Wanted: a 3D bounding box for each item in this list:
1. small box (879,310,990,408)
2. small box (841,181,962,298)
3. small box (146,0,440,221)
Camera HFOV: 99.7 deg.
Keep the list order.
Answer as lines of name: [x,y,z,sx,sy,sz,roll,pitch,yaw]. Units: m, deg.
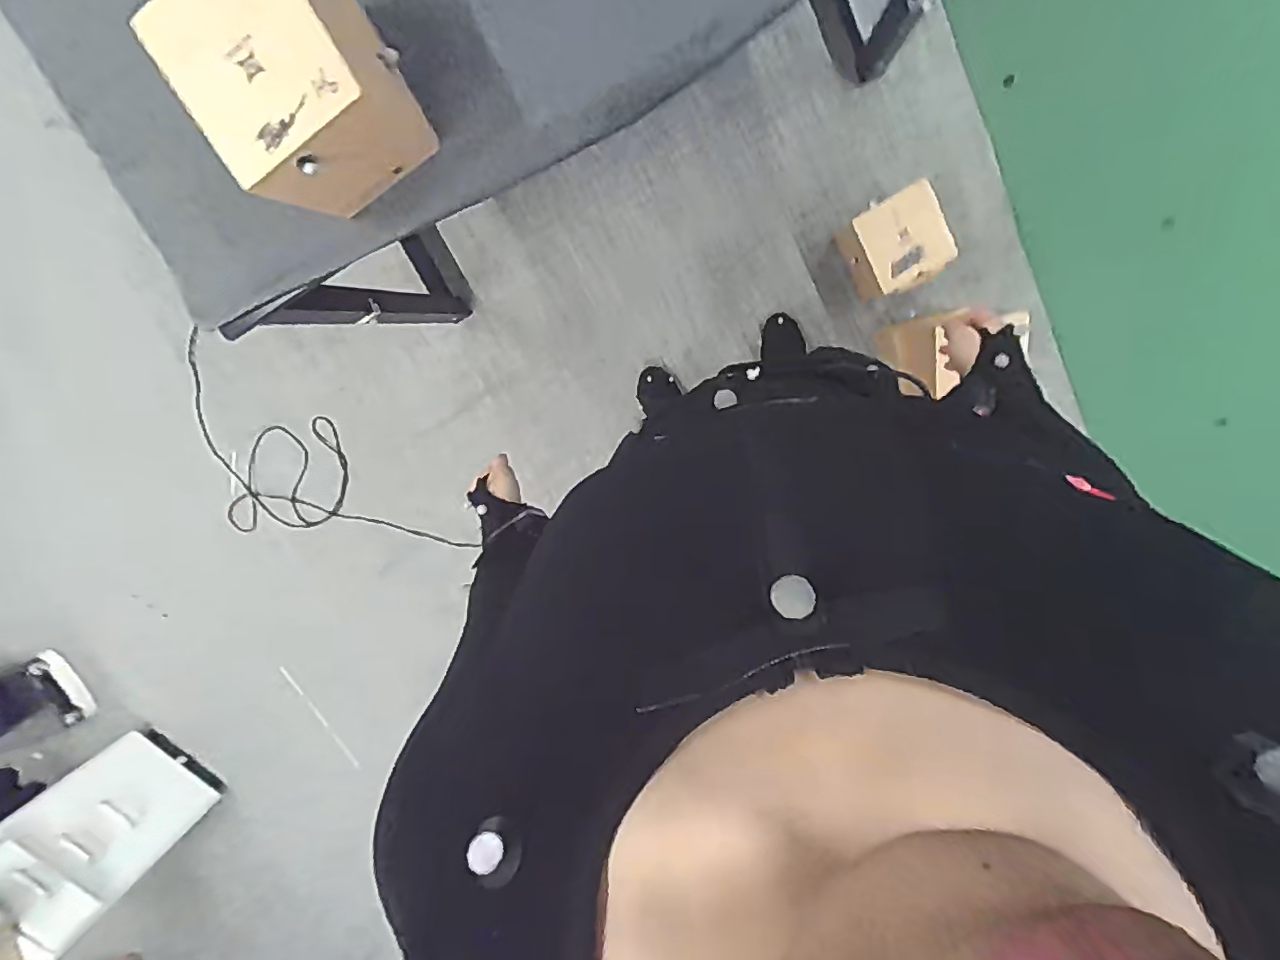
small box: [0.678,-0.286,1.260,0.168,0.176,0.179,-17,103,12]
small box: [0.573,-0.524,1.207,0.168,0.176,0.179,-27,100,14]
small box: [-0.363,-0.421,0.600,0.168,0.176,0.179,-28,101,14]
